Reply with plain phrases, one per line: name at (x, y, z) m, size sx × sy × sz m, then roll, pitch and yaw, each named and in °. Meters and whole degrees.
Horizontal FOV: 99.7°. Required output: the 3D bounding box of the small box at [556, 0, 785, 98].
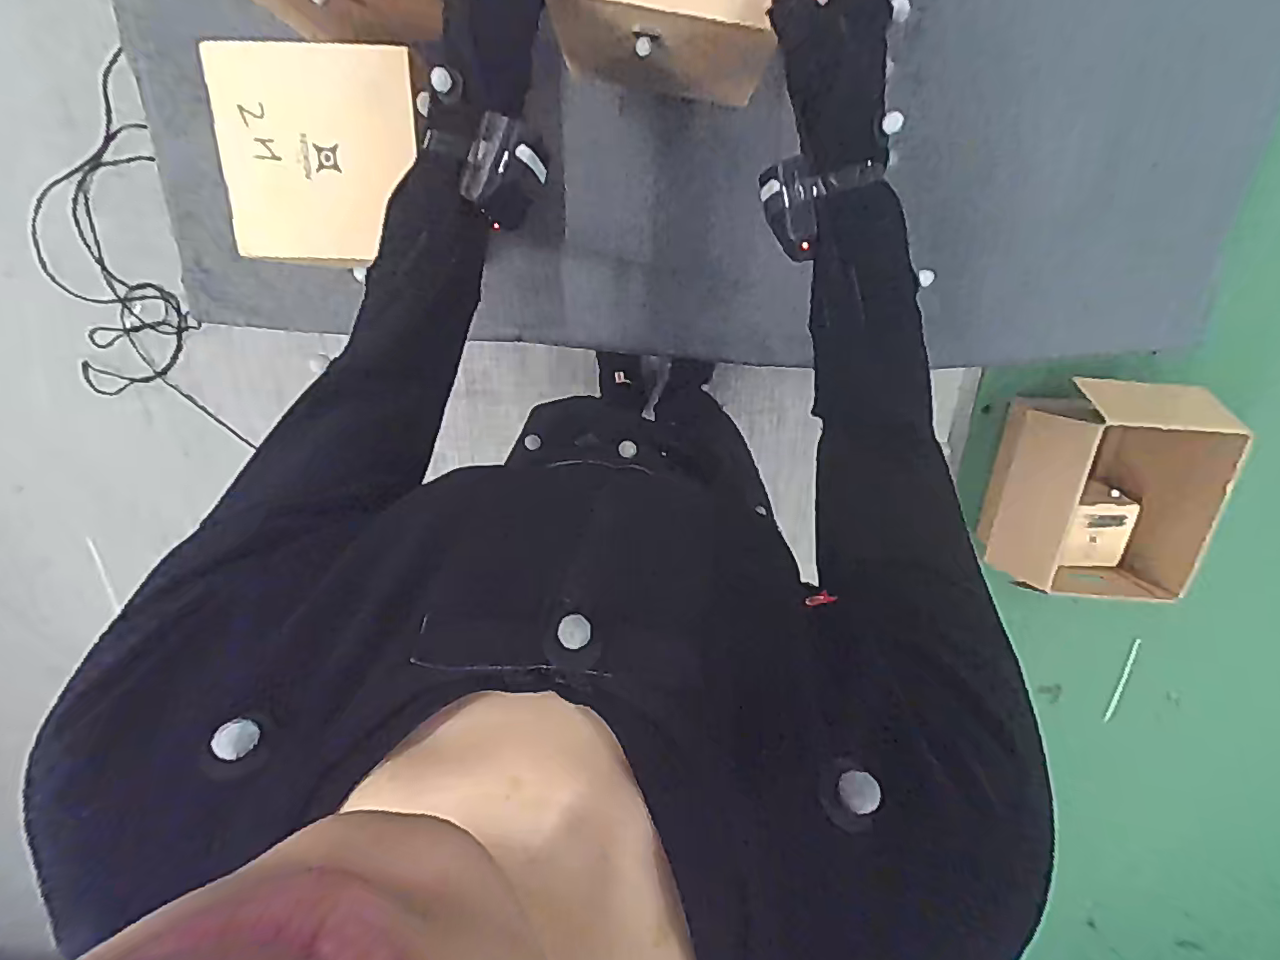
small box at (0.027, -0.431, 0.425) m, size 0.179 × 0.176 × 0.168 m, roll 8°, pitch 109°, yaw -2°

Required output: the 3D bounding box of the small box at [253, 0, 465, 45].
small box at (-0.265, -0.512, 0.472) m, size 0.179 × 0.176 × 0.168 m, roll 1°, pitch 110°, yaw 2°

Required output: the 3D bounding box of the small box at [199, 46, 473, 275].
small box at (-0.275, -0.299, 0.541) m, size 0.179 × 0.176 × 0.168 m, roll 2°, pitch 108°, yaw 1°
